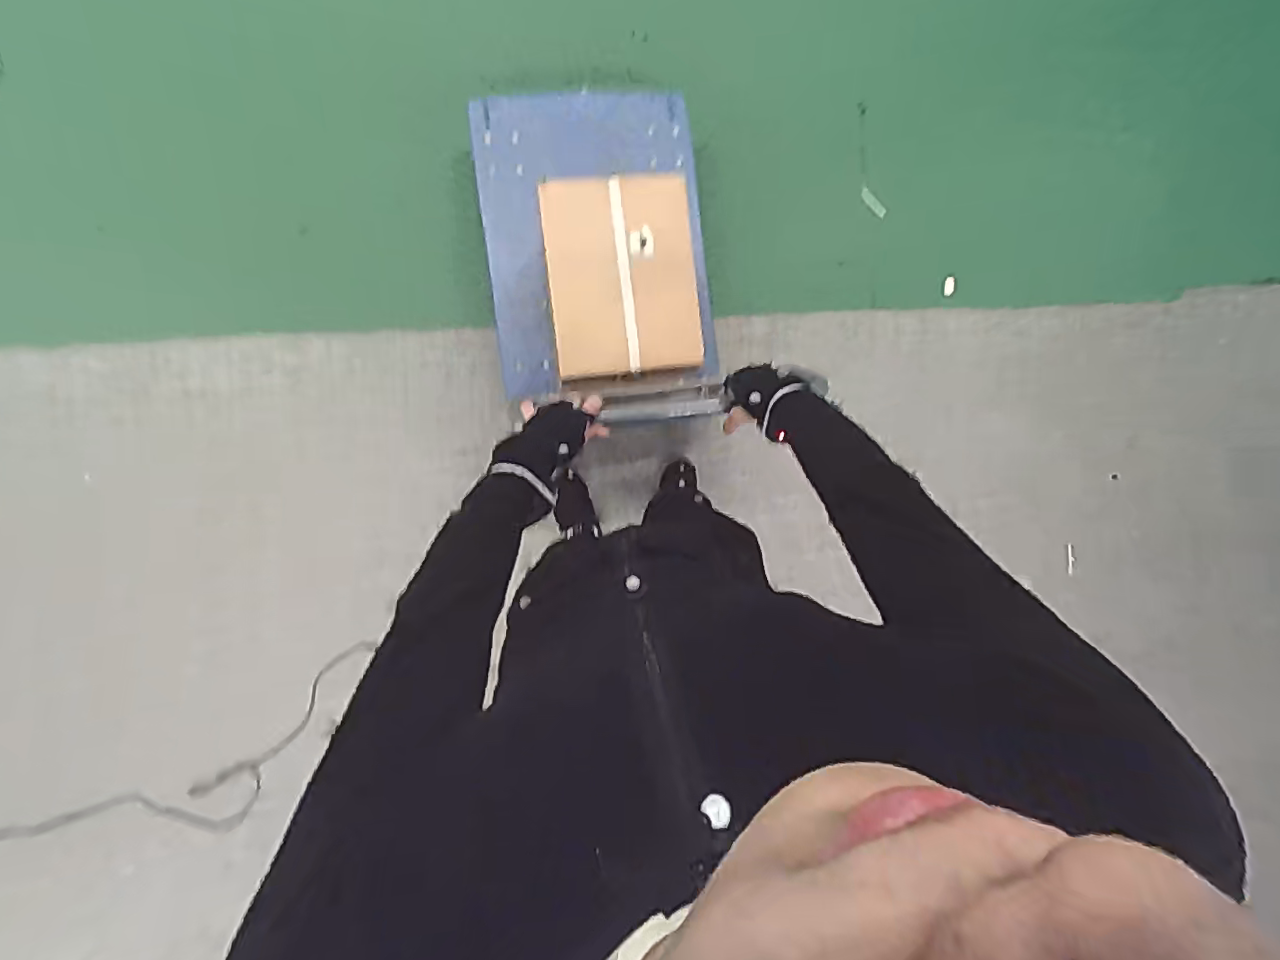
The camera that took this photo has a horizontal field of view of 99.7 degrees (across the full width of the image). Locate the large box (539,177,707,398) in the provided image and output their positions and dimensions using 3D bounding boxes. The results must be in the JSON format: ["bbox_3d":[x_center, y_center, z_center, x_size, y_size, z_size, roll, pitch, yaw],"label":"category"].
[{"bbox_3d":[-0.050,-0.427,1.276,0.320,0.320,0.408,-7,92,-8],"label":"large box"}]
